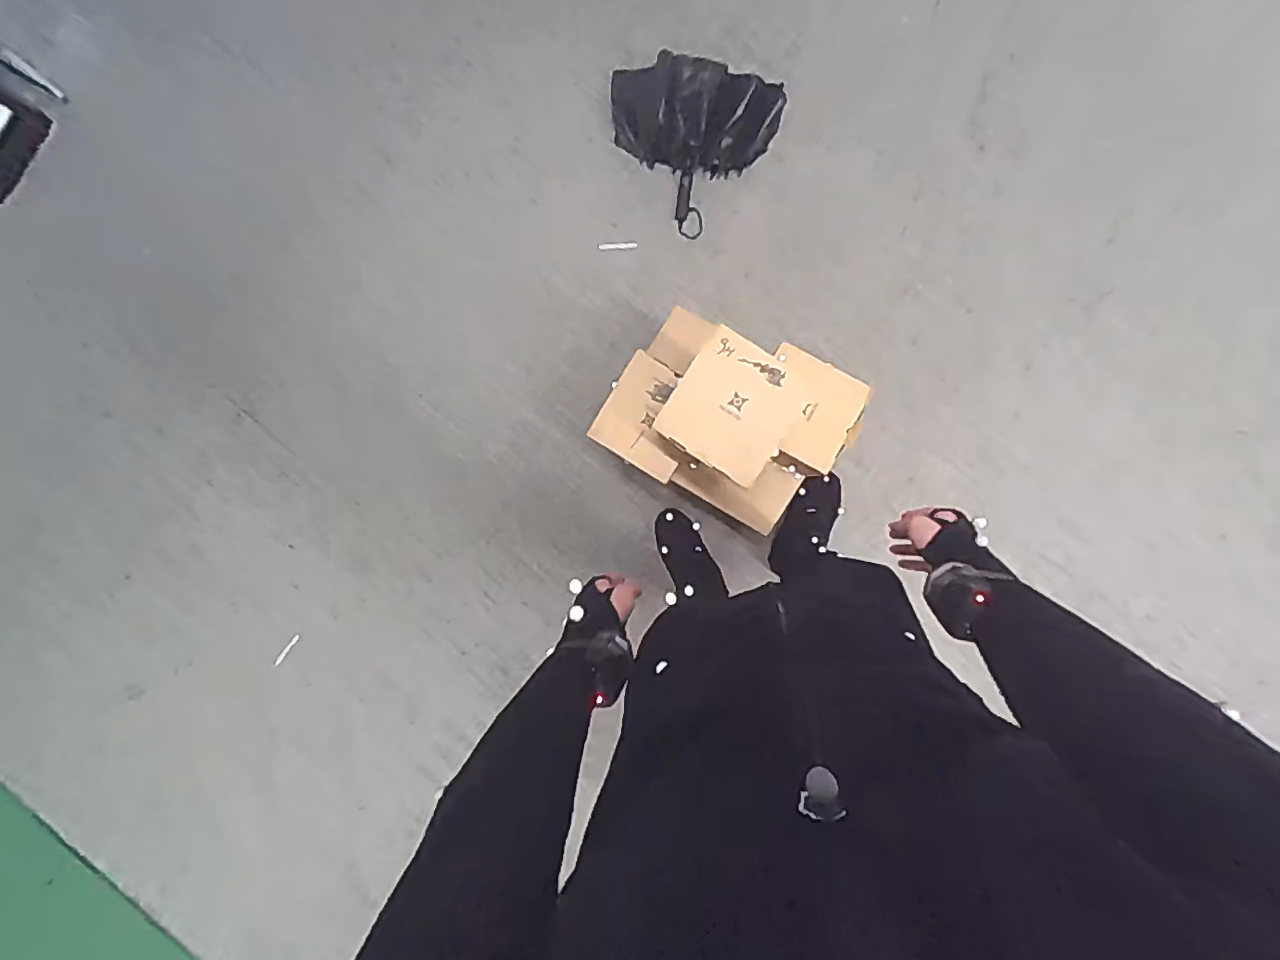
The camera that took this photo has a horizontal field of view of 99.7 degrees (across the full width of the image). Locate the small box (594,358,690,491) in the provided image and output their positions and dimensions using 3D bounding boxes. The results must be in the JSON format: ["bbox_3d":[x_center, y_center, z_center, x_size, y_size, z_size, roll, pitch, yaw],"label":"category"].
[{"bbox_3d":[0.037,-0.100,1.010,0.168,0.176,0.179,33,96,4],"label":"small box"}]

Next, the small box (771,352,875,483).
[{"bbox_3d":[0.287,-0.106,0.986,0.179,0.176,0.168,28,90,6],"label":"small box"}]

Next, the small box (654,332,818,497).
[{"bbox_3d":[0.143,-0.094,0.833,0.168,0.176,0.179,34,96,4],"label":"small box"}]
